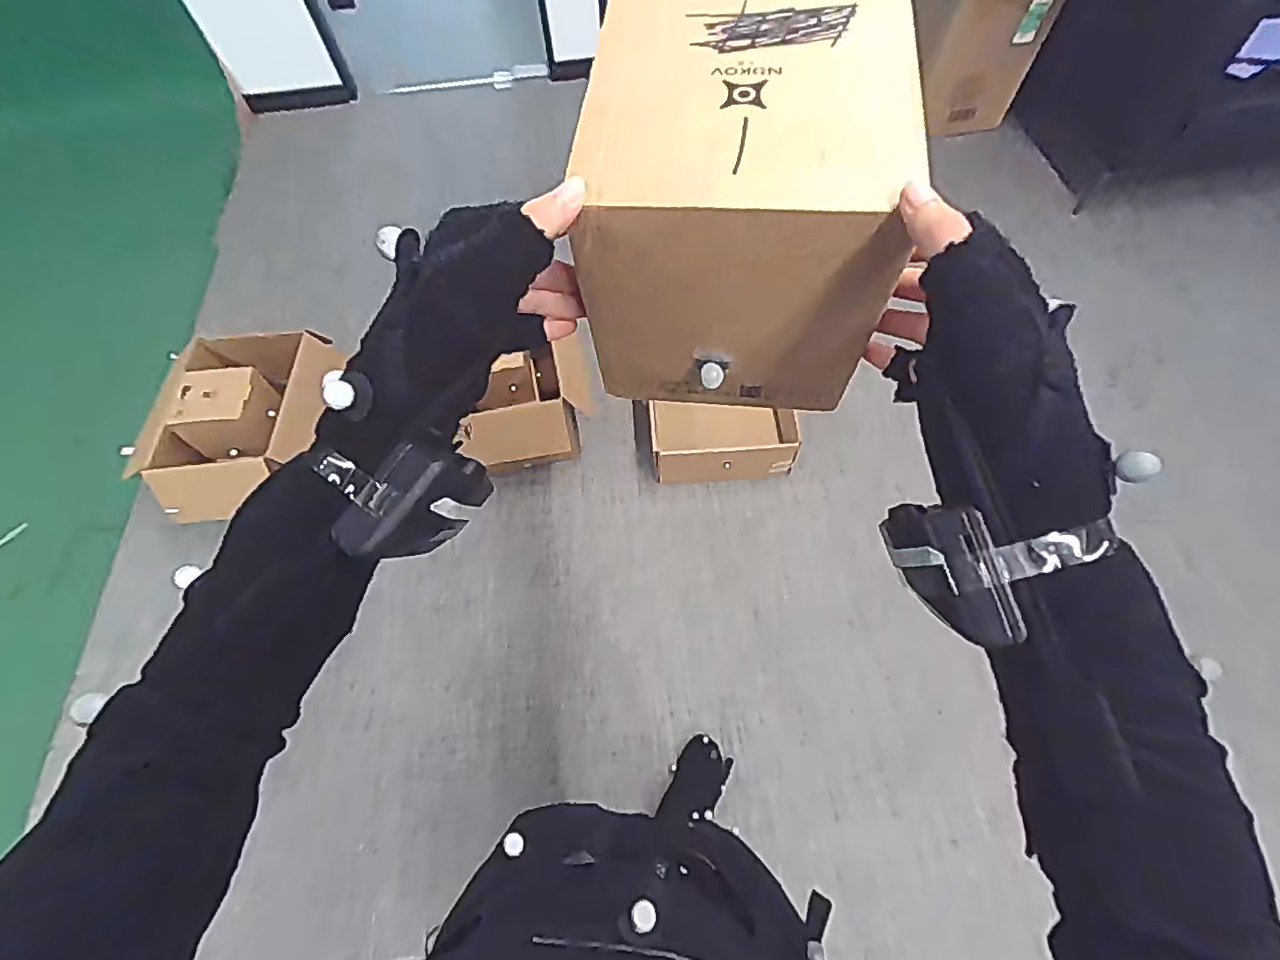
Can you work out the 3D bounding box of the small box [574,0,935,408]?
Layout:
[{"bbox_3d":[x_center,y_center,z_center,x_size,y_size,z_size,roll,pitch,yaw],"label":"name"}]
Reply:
[{"bbox_3d":[0.065,-0.169,0.350,0.168,0.176,0.179,5,67,7],"label":"small box"}]

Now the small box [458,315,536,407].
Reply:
[{"bbox_3d":[-0.383,-0.314,1.468,0.168,0.176,0.179,-11,65,-5],"label":"small box"}]
